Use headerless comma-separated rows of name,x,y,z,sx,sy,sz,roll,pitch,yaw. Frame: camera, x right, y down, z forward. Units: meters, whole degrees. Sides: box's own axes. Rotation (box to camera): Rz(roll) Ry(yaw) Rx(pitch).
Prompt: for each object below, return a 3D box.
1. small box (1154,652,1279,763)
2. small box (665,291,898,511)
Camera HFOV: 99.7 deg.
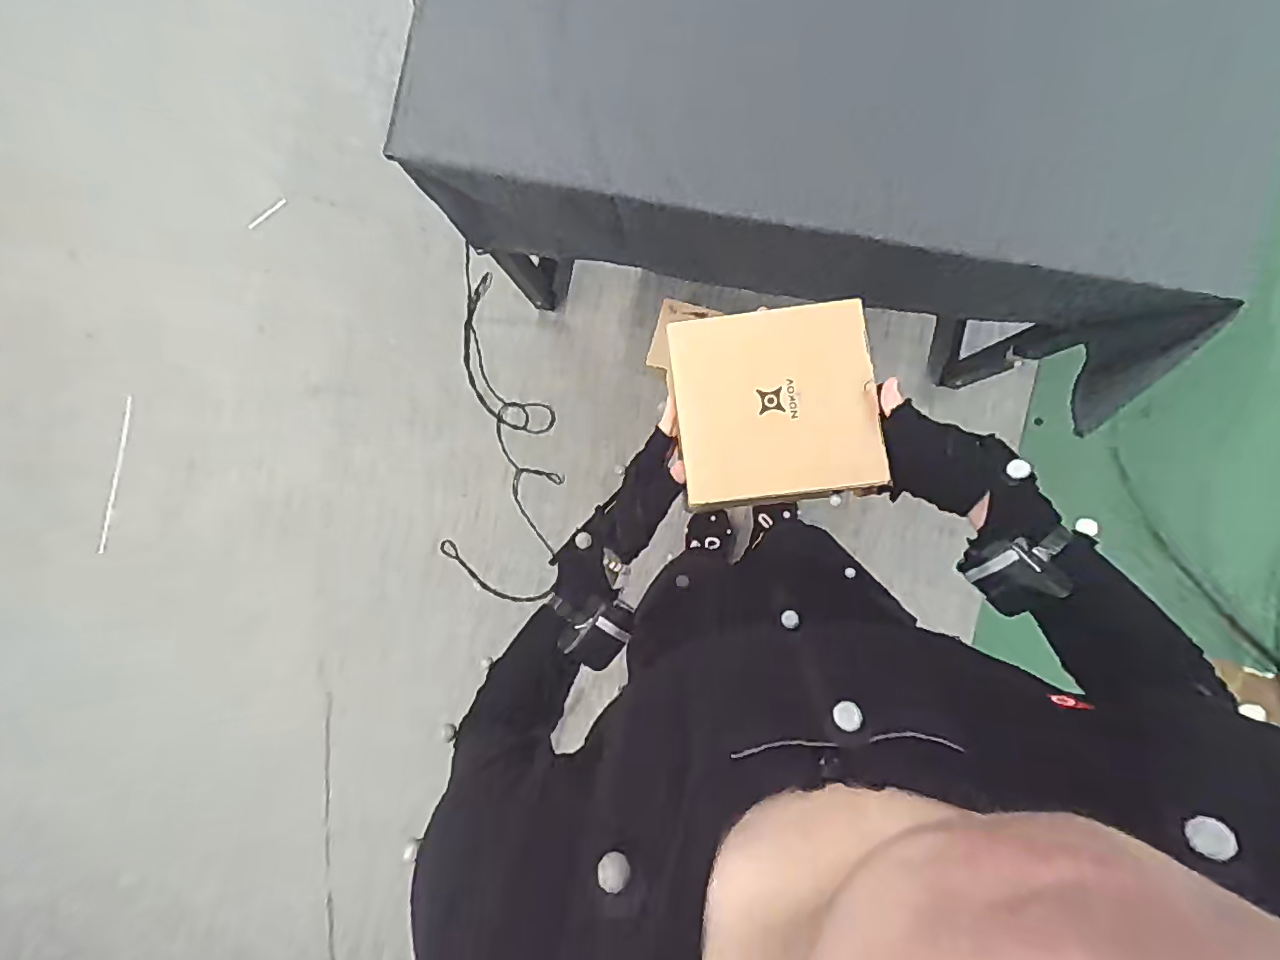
small box,1.405,0.531,1.284,0.179,0.176,0.168,23,90,6
small box,0.122,-0.063,0.535,0.179,0.176,0.168,-8,83,1
